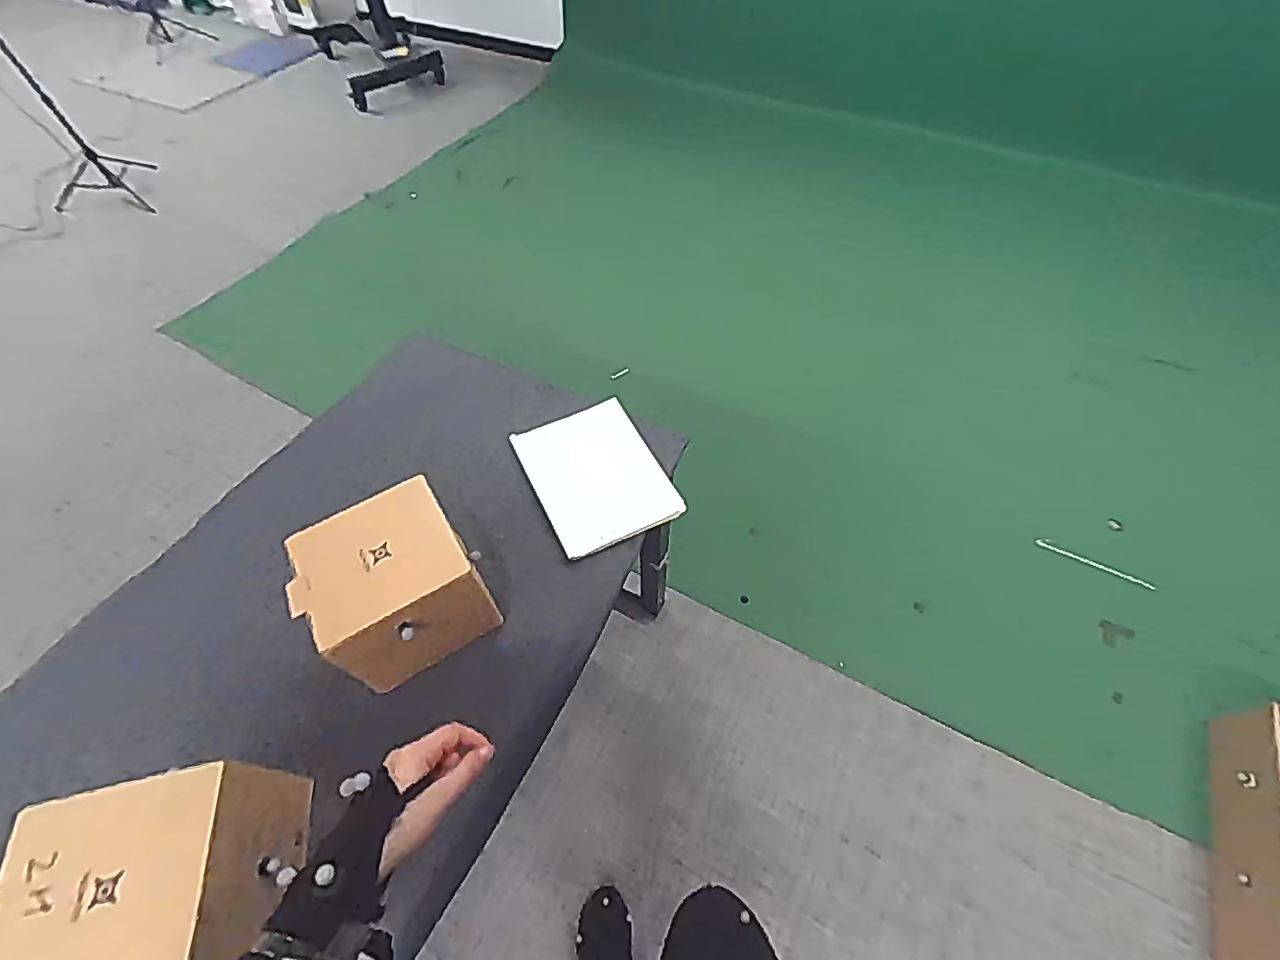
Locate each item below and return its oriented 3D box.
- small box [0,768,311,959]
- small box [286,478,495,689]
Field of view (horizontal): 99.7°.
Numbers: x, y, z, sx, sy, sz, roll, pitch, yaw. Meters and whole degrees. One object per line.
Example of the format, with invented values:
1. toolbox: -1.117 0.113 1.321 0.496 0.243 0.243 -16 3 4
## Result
1. small box: -0.448 0.393 0.516 0.179 0.176 0.168 -12 56 -7
2. small box: -0.302 0.135 0.691 0.179 0.176 0.168 -29 60 -17
